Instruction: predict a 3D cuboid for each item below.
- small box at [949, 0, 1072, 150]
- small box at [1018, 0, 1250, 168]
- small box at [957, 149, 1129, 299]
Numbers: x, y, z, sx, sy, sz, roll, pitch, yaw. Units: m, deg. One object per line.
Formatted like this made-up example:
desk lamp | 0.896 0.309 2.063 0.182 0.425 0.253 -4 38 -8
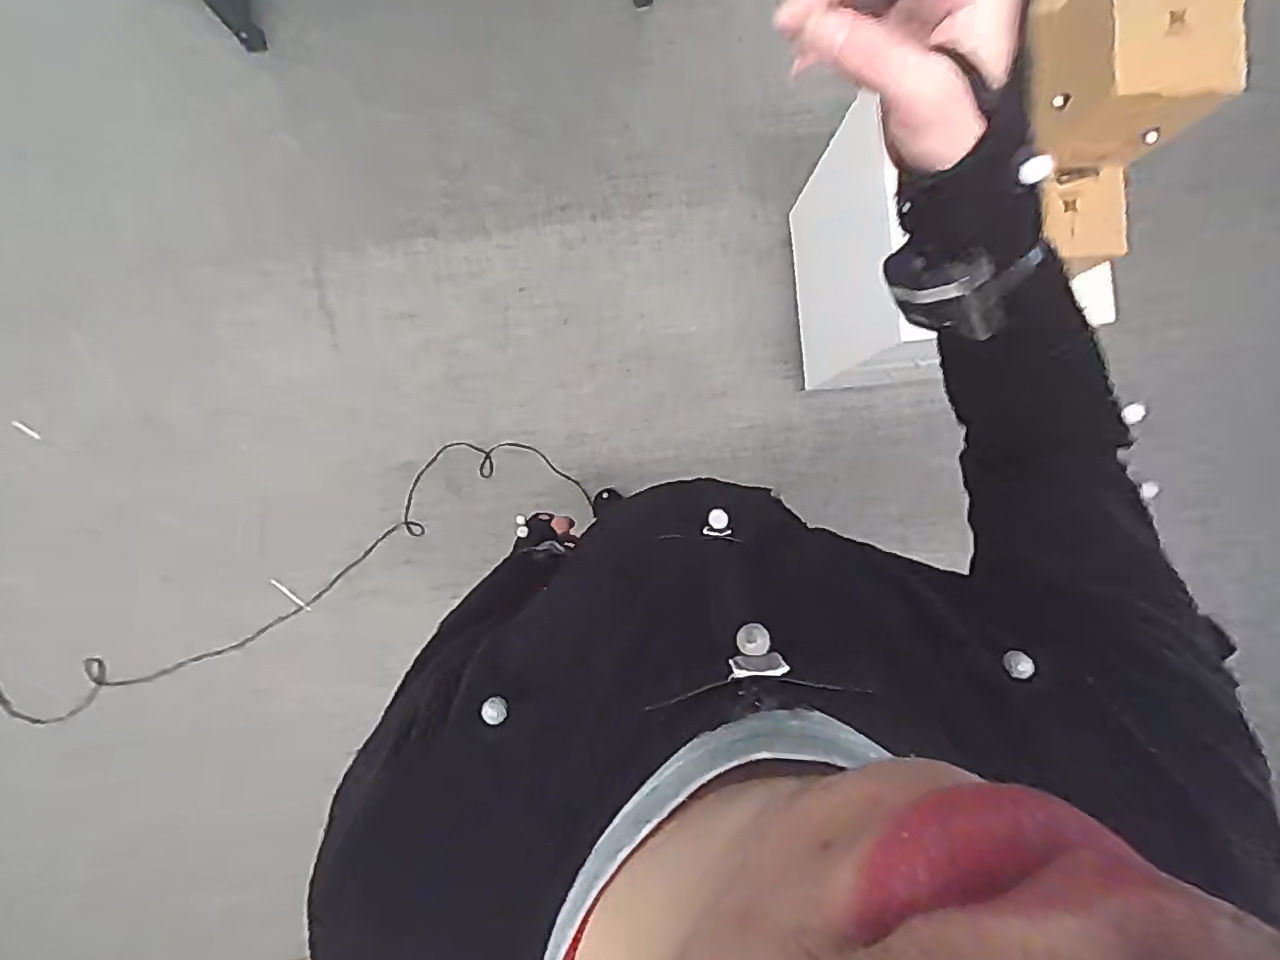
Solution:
small box | 0.642 -0.677 0.898 0.168 0.176 0.179 -5 92 -1
small box | 0.654 -0.551 0.736 0.168 0.176 0.179 -3 89 -1
small box | 0.655 -0.417 0.898 0.168 0.176 0.179 -3 90 0
